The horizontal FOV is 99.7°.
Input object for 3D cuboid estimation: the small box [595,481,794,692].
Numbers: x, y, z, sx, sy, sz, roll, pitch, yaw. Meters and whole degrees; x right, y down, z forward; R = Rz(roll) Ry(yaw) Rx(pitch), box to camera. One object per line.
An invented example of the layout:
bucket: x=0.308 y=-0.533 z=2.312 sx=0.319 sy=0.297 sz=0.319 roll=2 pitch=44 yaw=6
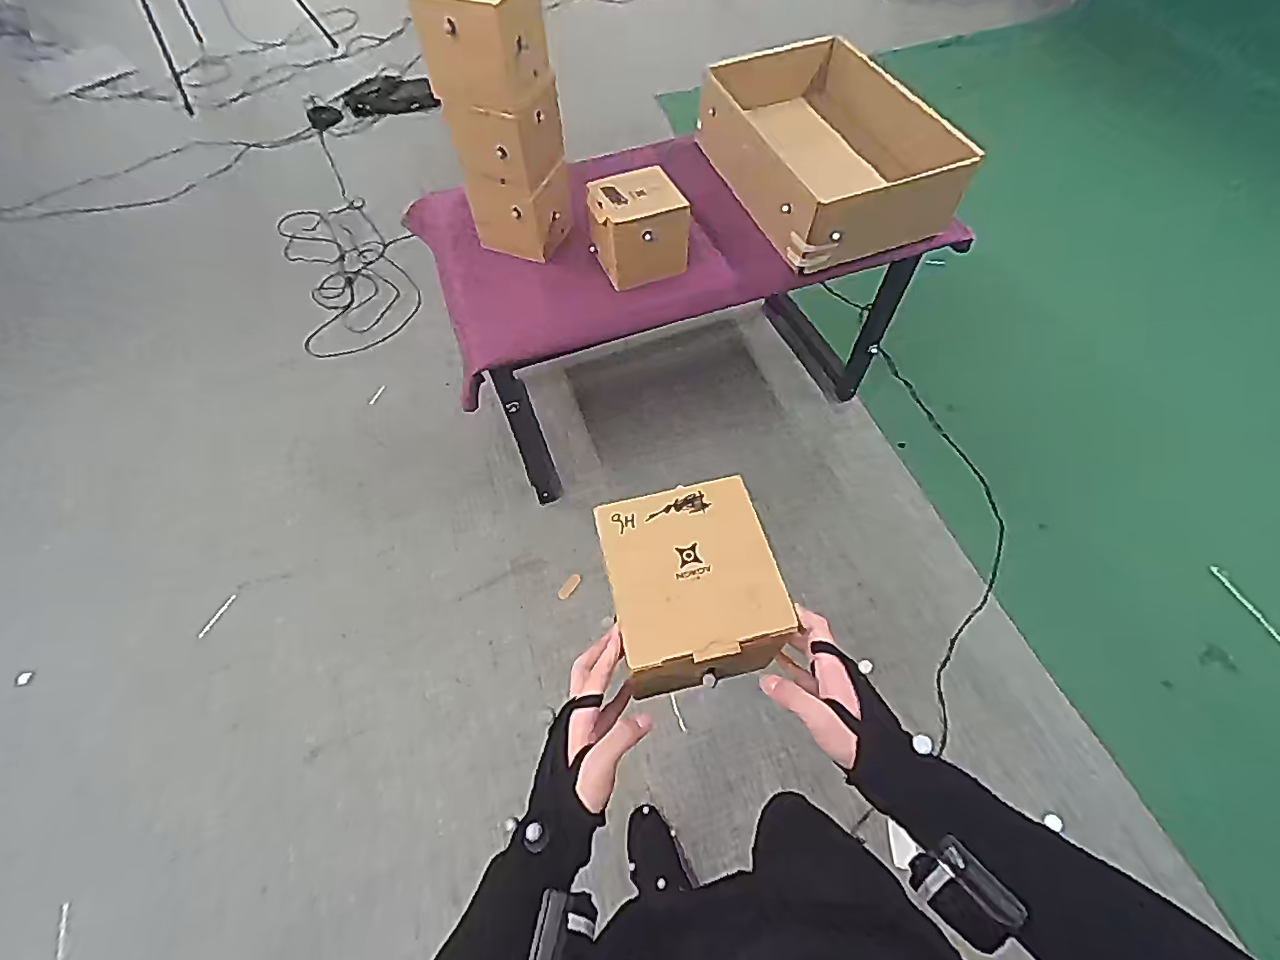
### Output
small box: x=0.050 y=0.128 z=0.605 sx=0.168 sy=0.176 sz=0.179 roll=-11 pitch=61 yaw=-6

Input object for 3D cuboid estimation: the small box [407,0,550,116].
small box: x=-0.282 y=-0.806 z=0.996 sx=0.179 sy=0.176 sz=0.168 roll=18 pitch=62 yaw=10

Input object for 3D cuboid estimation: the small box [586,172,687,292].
small box: x=-0.006 y=-0.552 z=1.216 sx=0.179 sy=0.176 sz=0.168 roll=-20 pitch=60 yaw=-11

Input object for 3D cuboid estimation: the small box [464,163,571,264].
small box: x=-0.277 y=-0.637 z=1.273 sx=0.179 sy=0.176 sz=0.168 roll=19 pitch=61 yaw=11

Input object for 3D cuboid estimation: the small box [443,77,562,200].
small box: x=-0.275 y=-0.725 z=1.136 sx=0.168 sy=0.176 sz=0.179 roll=20 pitch=62 yaw=10
